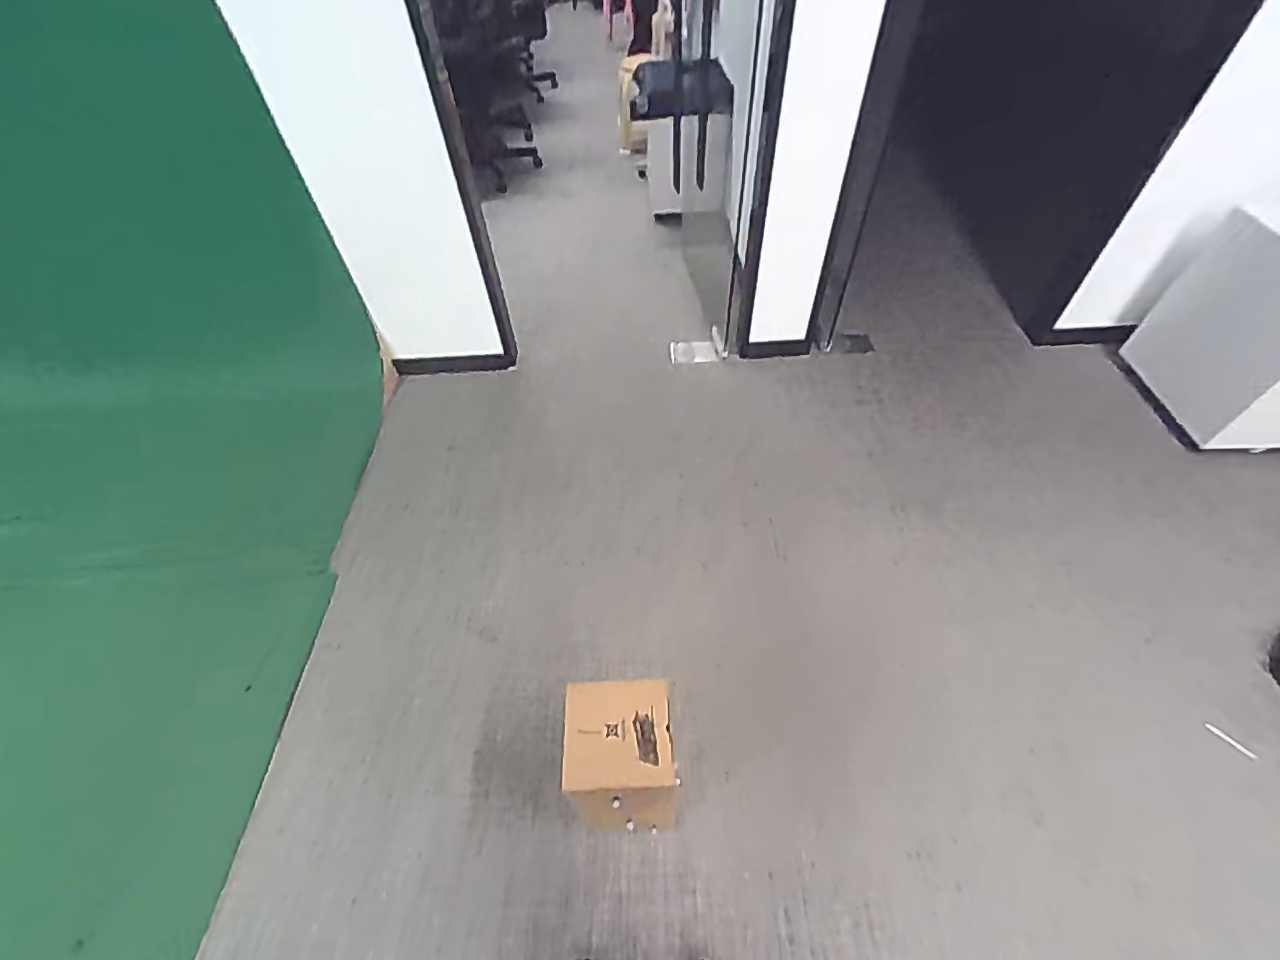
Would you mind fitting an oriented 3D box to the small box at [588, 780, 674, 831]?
[{"bbox_3d":[-0.017,0.669,1.196,0.179,0.176,0.168,-4,50,2],"label":"small box"}]

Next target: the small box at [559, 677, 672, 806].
[{"bbox_3d":[-0.035,0.458,0.942,0.179,0.176,0.168,-1,48,2],"label":"small box"}]
